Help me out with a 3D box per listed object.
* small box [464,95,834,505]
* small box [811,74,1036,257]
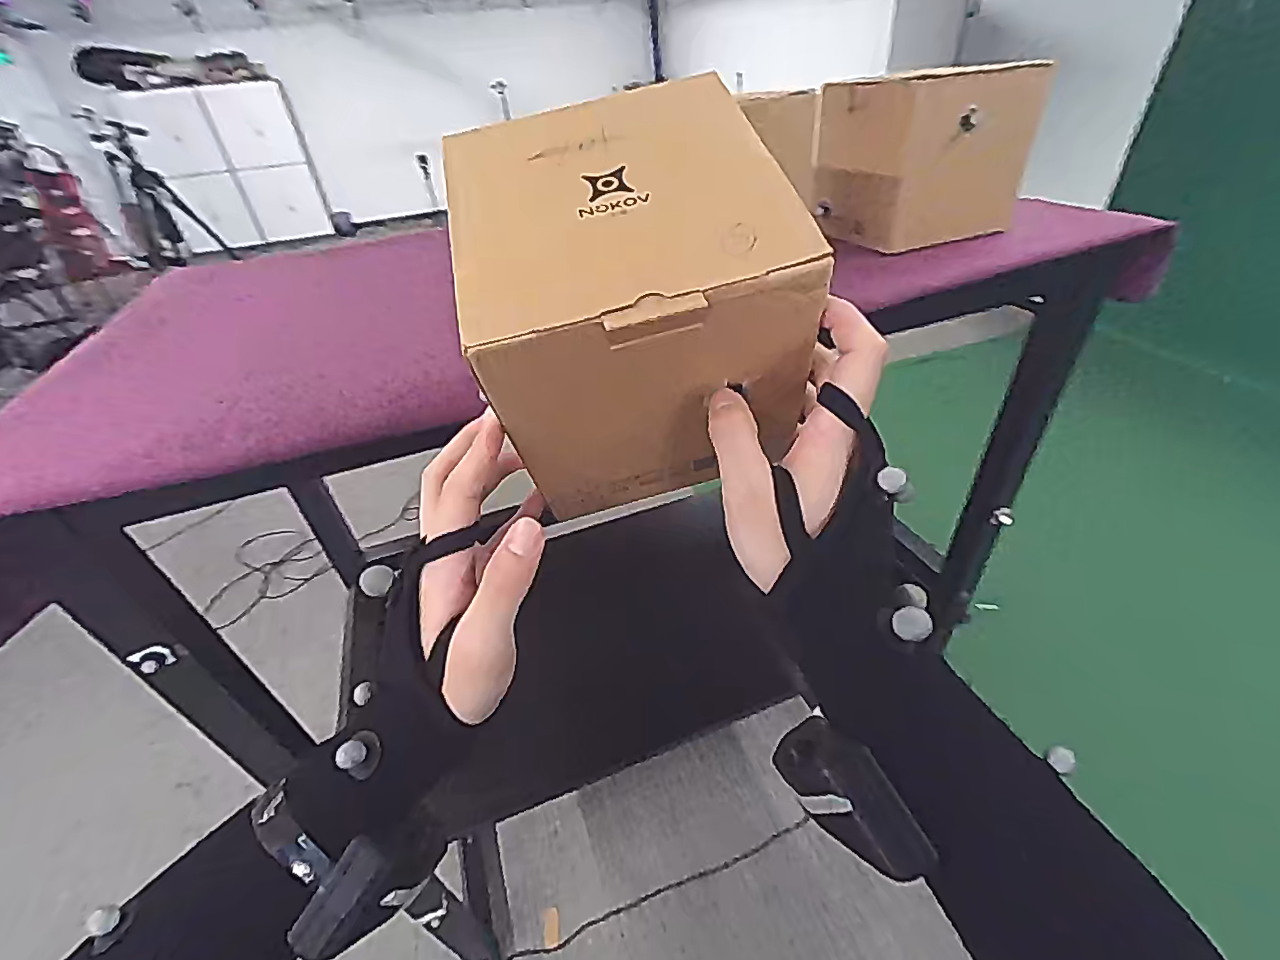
[{"bbox_3d":[0.001,-0.099,0.350,0.168,0.176,0.179,-14,60,-2],"label":"small box"},{"bbox_3d":[0.330,-0.389,0.672,0.179,0.176,0.168,-16,38,-14],"label":"small box"}]
